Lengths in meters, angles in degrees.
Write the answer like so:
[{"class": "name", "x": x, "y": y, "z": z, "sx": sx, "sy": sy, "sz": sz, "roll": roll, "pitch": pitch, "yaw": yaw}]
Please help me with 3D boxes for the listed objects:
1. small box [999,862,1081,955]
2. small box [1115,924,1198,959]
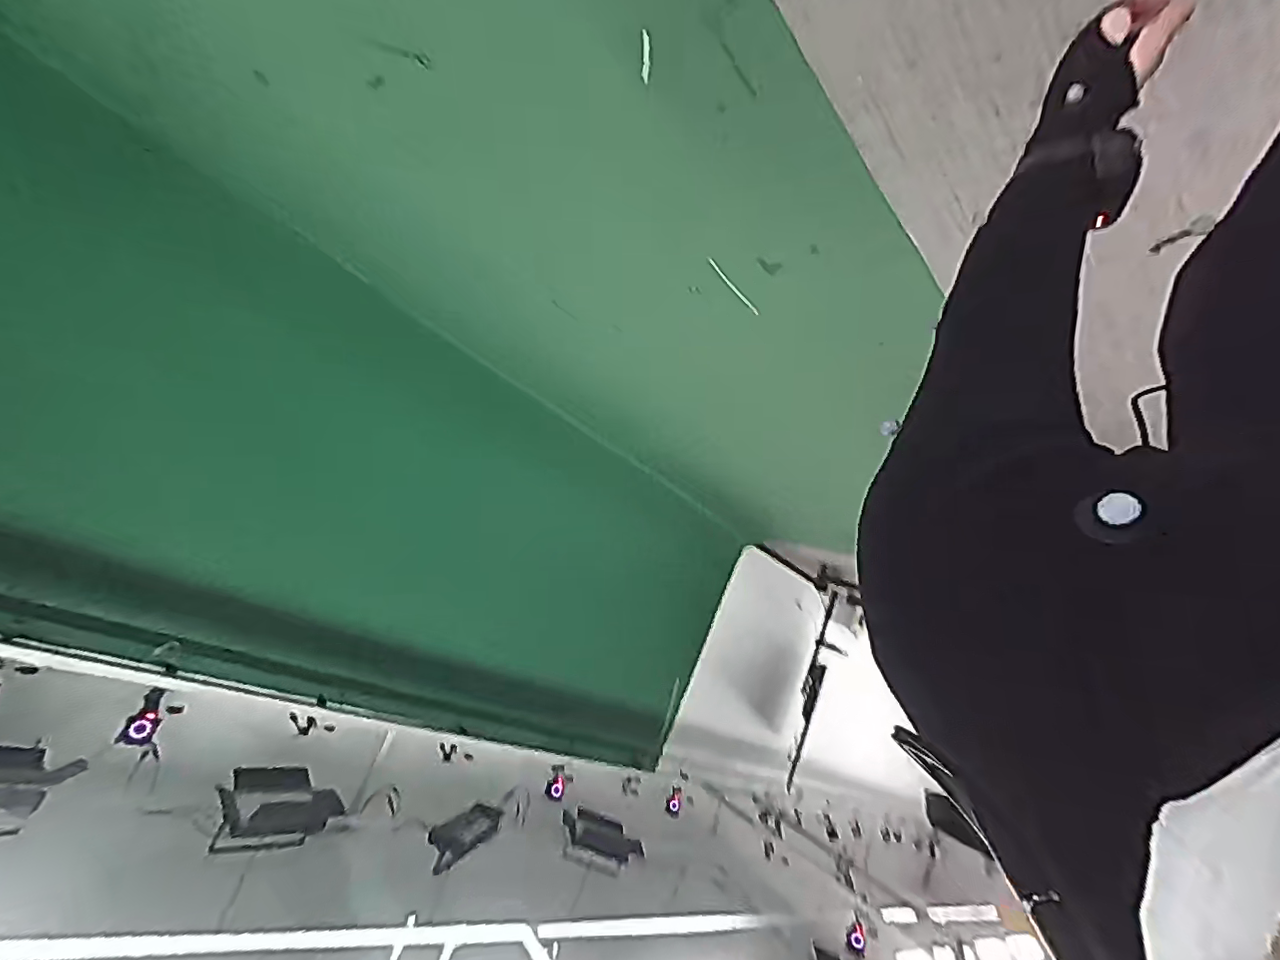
[{"class": "small box", "x": 1.259, "y": 1.336, "z": 1.699, "sx": 0.179, "sy": 0.176, "sz": 0.168, "roll": 33, "pitch": 165, "yaw": -38}, {"class": "small box", "x": 1.426, "y": 1.359, "z": 1.475, "sx": 0.168, "sy": 0.176, "sz": 0.179, "roll": 31, "pitch": 167, "yaw": -35}]
